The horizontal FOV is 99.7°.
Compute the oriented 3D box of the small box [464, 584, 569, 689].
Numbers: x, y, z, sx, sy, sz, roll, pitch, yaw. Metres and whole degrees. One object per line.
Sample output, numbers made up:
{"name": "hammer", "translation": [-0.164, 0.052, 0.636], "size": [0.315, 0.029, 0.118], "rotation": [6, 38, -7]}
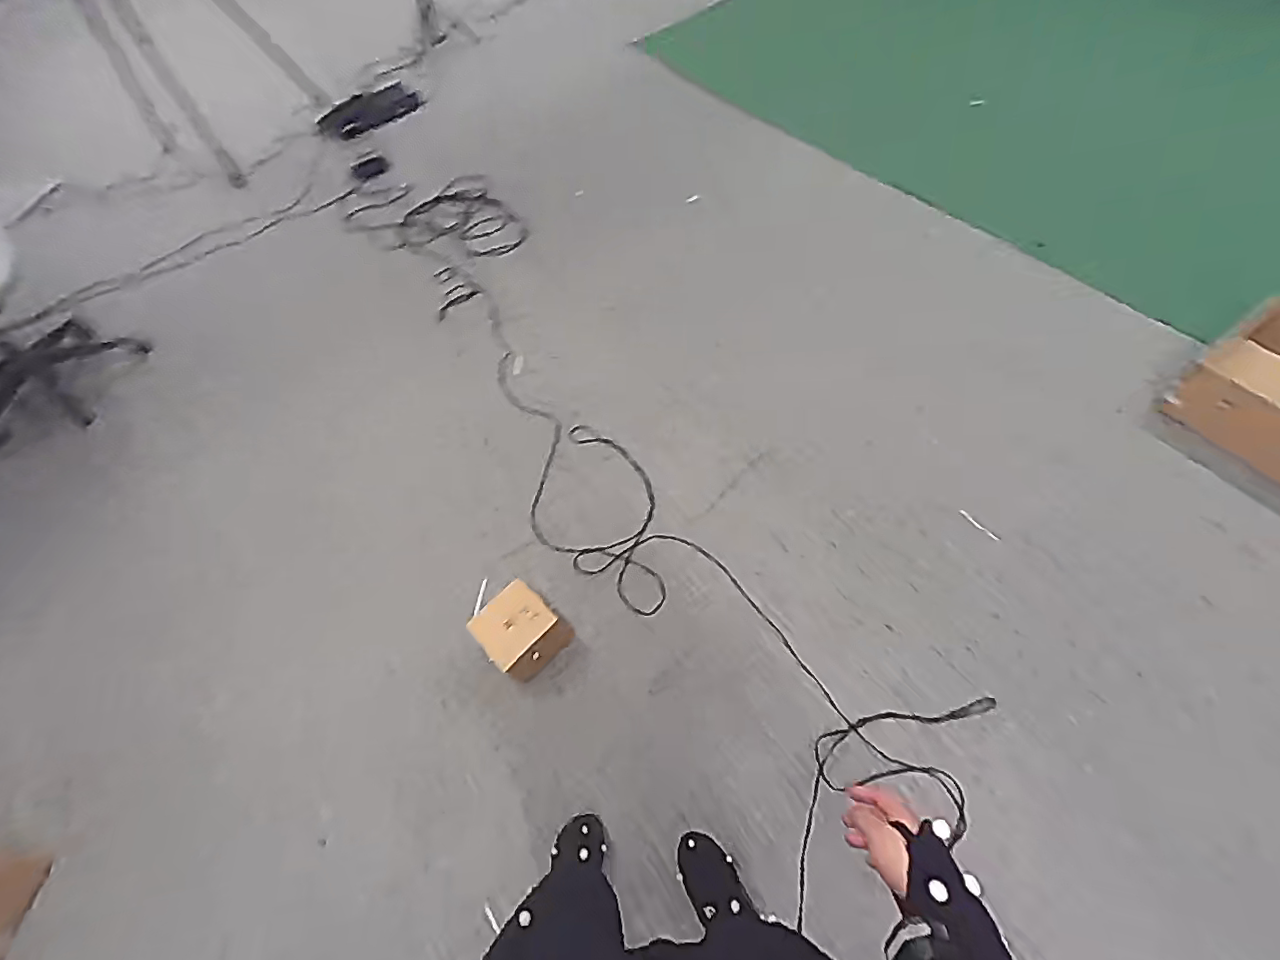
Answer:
{"name": "small box", "translation": [-0.307, 0.405, 1.383], "size": [0.168, 0.176, 0.179], "rotation": [38, 71, 25]}
